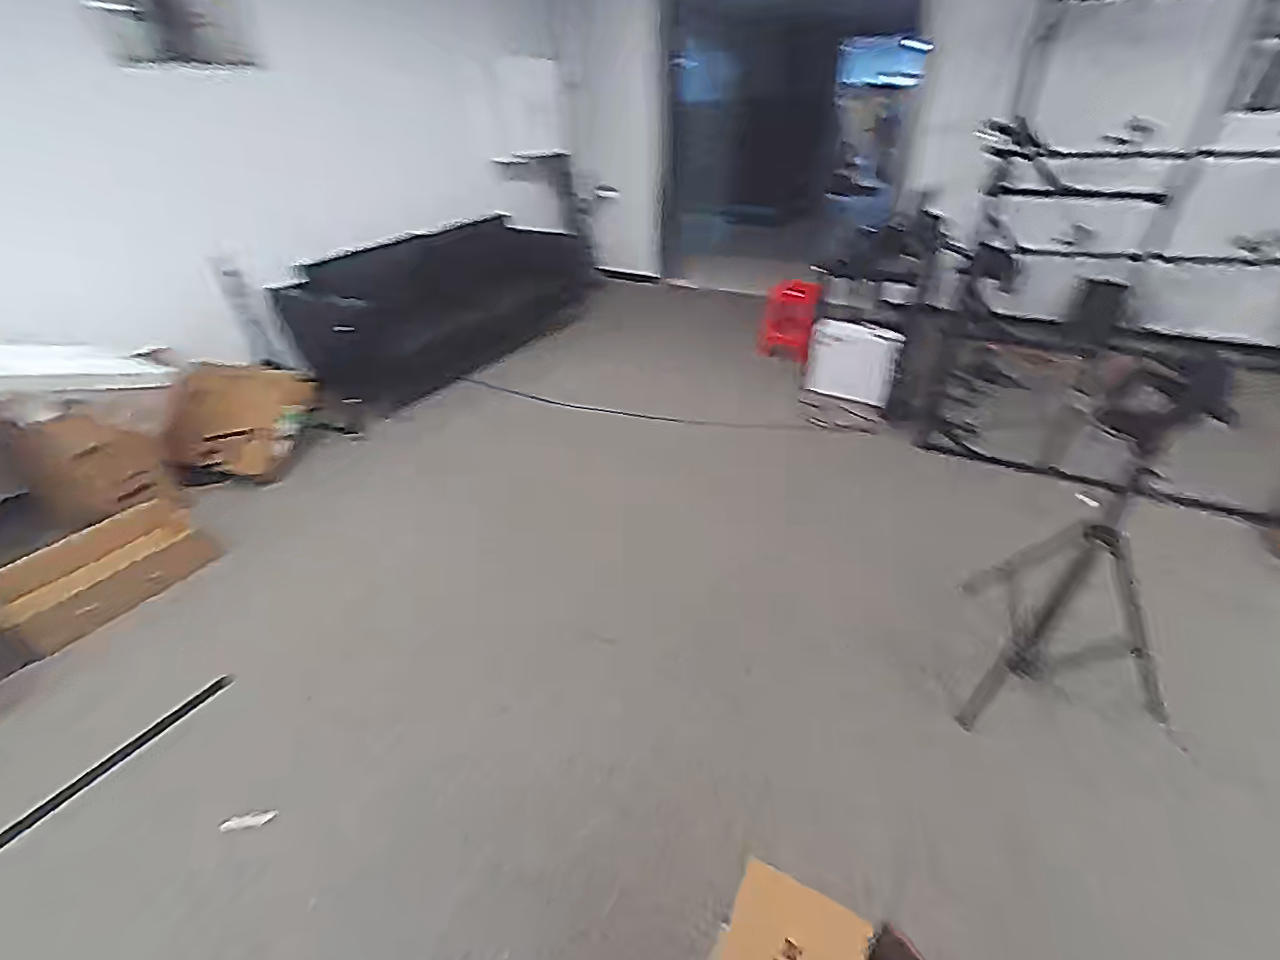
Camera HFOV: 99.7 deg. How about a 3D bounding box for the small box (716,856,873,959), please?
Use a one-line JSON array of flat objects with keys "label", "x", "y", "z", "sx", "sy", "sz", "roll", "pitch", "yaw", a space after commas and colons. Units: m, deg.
[{"label": "small box", "x": 0.195, "y": 0.666, "z": 0.725, "sx": 0.168, "sy": 0.176, "sz": 0.179, "roll": 15, "pitch": 41, "yaw": 27}]
